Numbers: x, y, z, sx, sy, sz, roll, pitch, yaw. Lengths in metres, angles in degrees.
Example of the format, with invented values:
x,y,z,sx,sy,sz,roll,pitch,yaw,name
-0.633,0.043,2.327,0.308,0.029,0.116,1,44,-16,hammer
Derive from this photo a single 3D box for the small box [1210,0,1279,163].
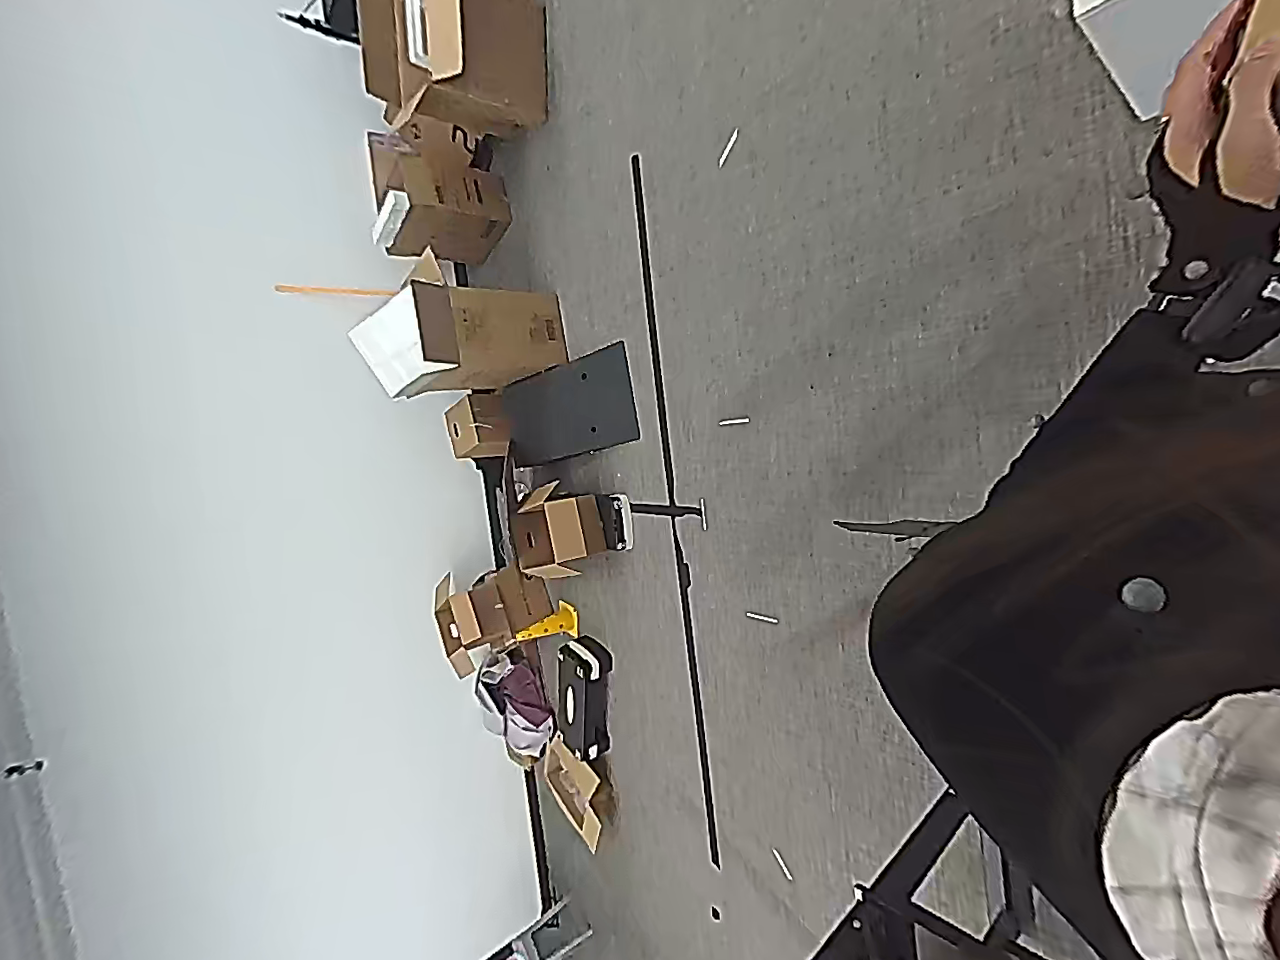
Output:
x,y,z,sx,sy,sz,roll,pitch,yaw,name
0.507,-0.326,0.341,0.168,0.176,0.179,18,100,38,small box
